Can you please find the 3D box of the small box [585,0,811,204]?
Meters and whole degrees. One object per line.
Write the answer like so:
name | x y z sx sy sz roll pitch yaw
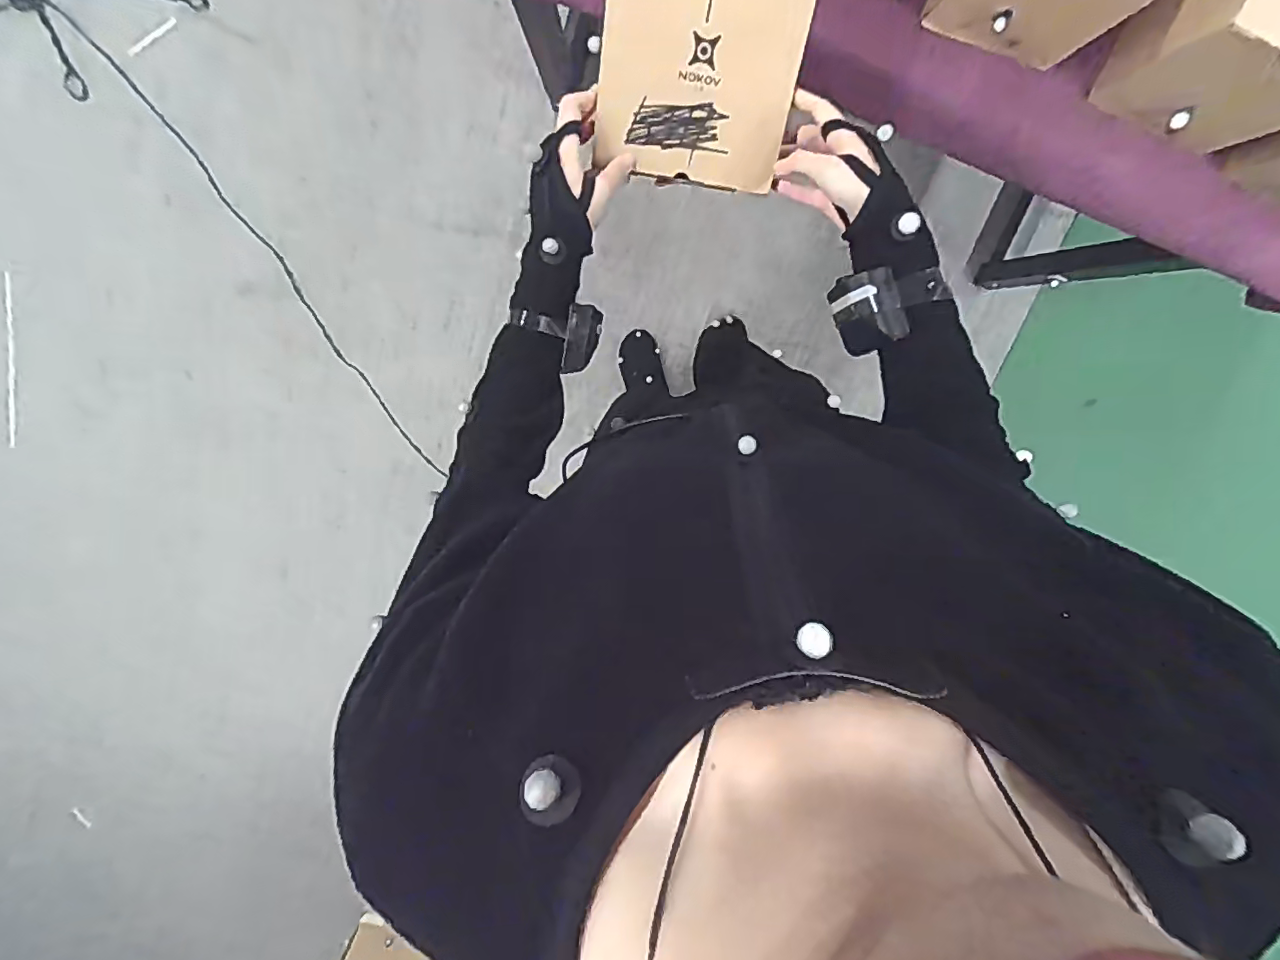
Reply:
small box | 0.044 -0.378 0.513 0.168 0.176 0.179 7 121 -5
